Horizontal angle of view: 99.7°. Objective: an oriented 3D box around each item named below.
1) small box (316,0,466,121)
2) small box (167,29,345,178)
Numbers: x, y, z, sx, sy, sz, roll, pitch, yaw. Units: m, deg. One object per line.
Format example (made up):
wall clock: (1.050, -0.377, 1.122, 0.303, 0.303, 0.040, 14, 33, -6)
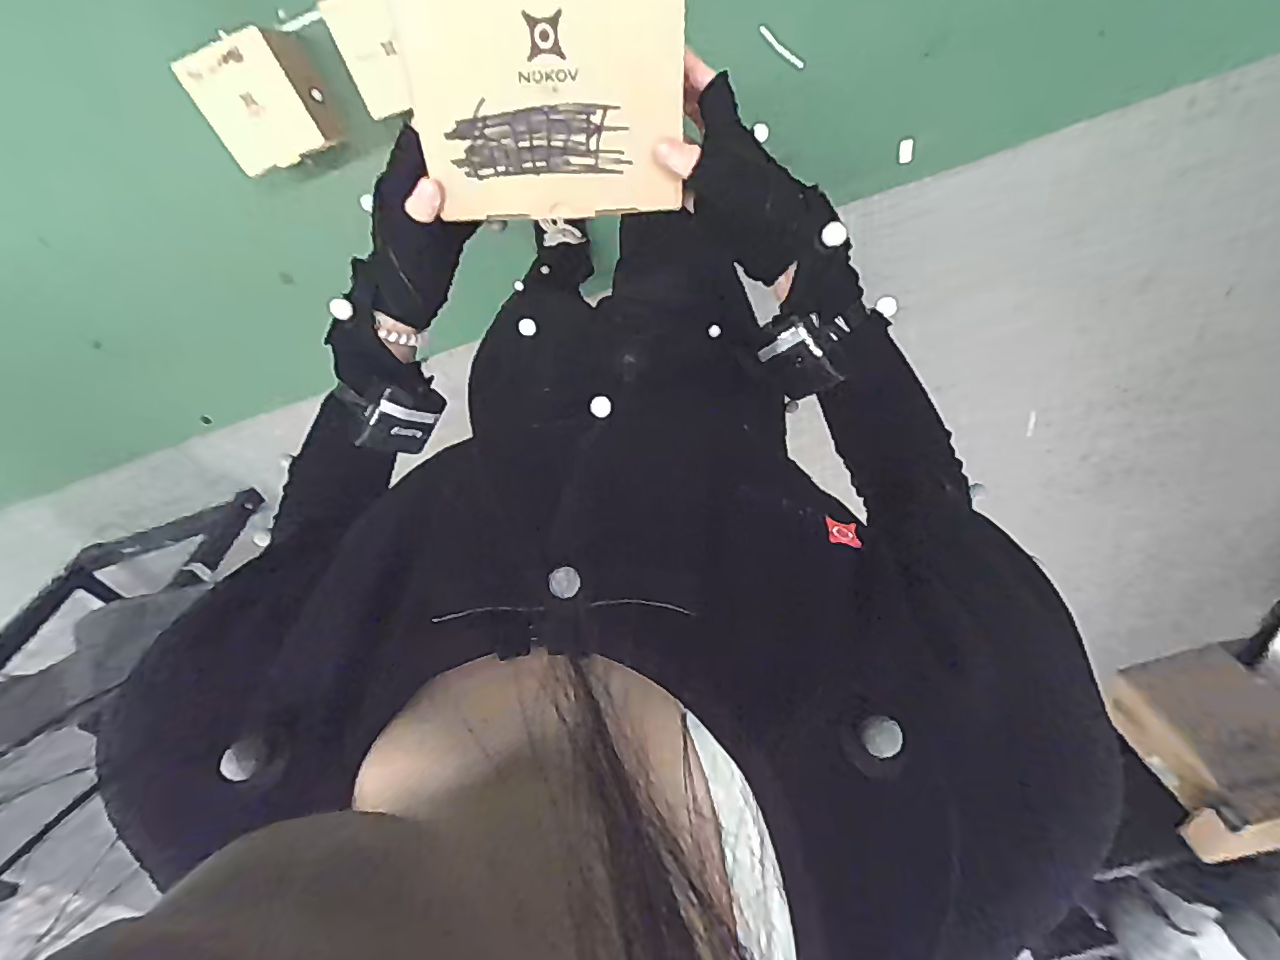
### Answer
small box: (-0.425, -0.767, 0.963, 0.179, 0.176, 0.168, -16, 128, 4)
small box: (-0.678, -0.686, 0.984, 0.168, 0.176, 0.179, -19, 129, 6)
